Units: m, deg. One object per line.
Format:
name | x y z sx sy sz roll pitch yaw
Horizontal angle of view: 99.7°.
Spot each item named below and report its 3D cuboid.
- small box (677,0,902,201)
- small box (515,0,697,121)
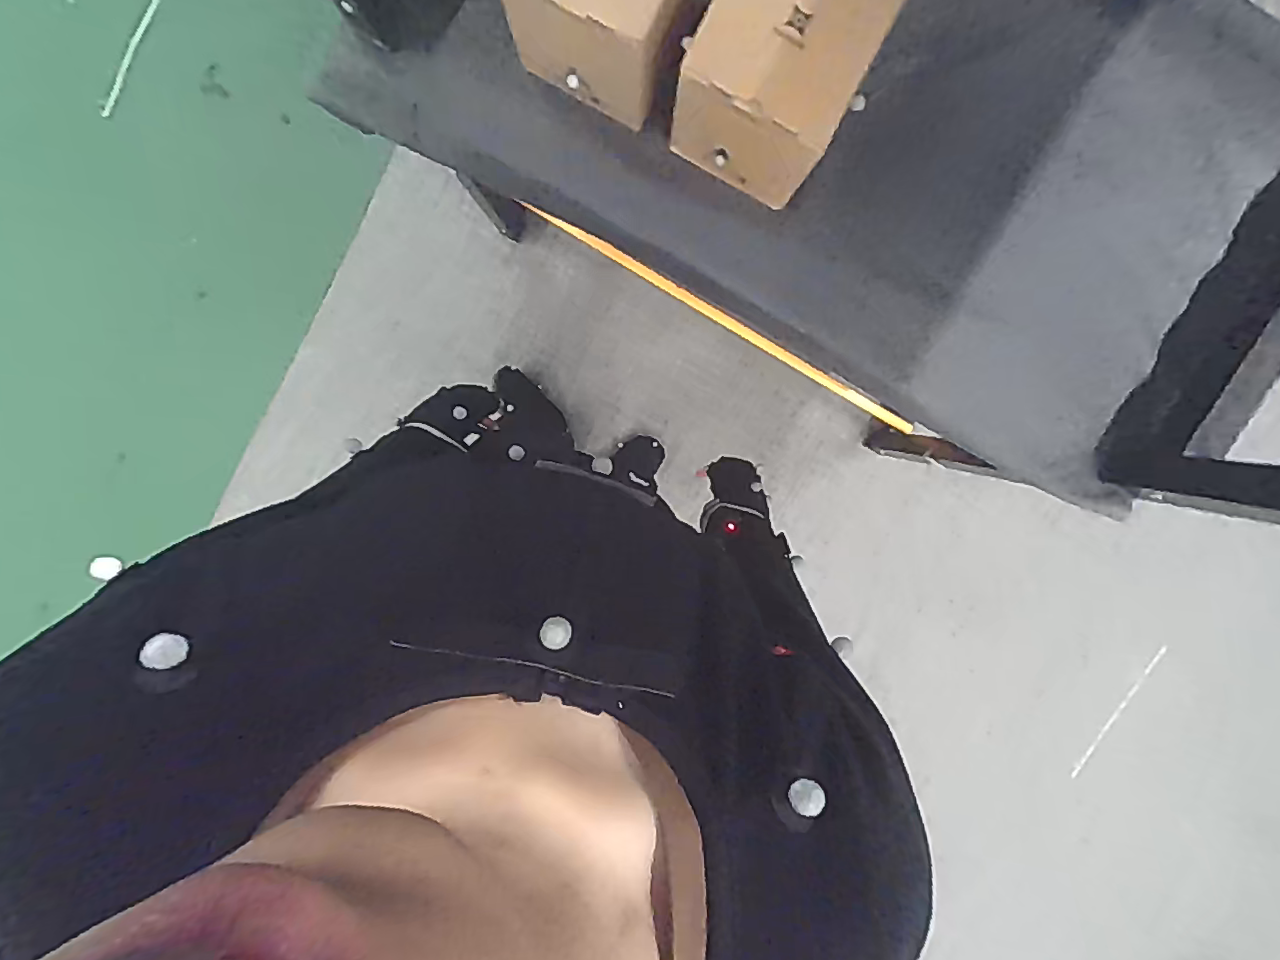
small box | 0.151 -0.458 0.606 0.168 0.176 0.179 27 96 -4
small box | -0.031 -0.548 0.587 0.168 0.176 0.179 27 96 -4
